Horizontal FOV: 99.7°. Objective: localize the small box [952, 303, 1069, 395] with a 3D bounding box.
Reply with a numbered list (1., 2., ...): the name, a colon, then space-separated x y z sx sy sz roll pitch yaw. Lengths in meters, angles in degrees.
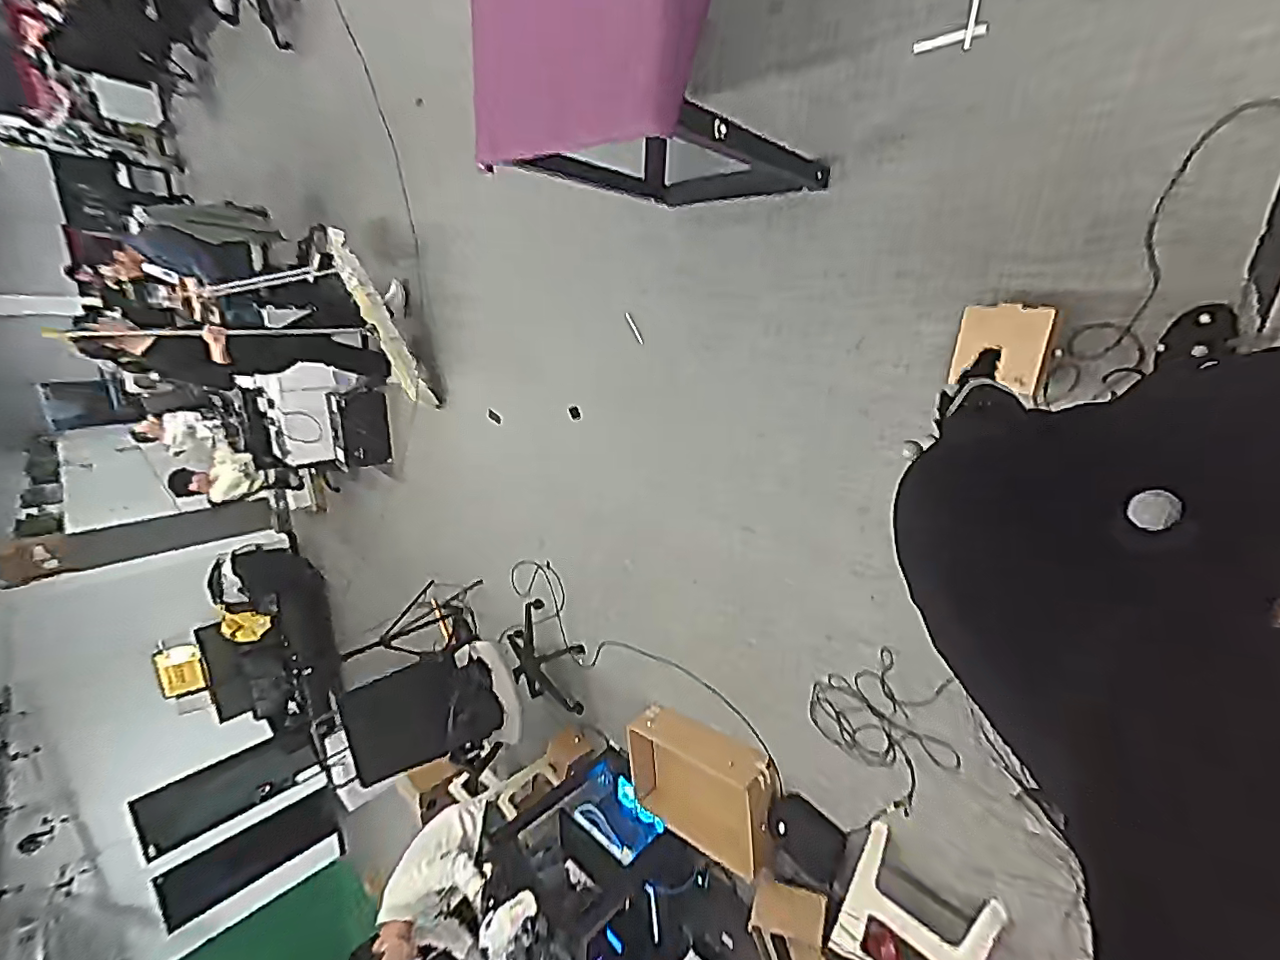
1. small box: 0.821 -0.289 1.195 0.168 0.176 0.179 19 112 40
